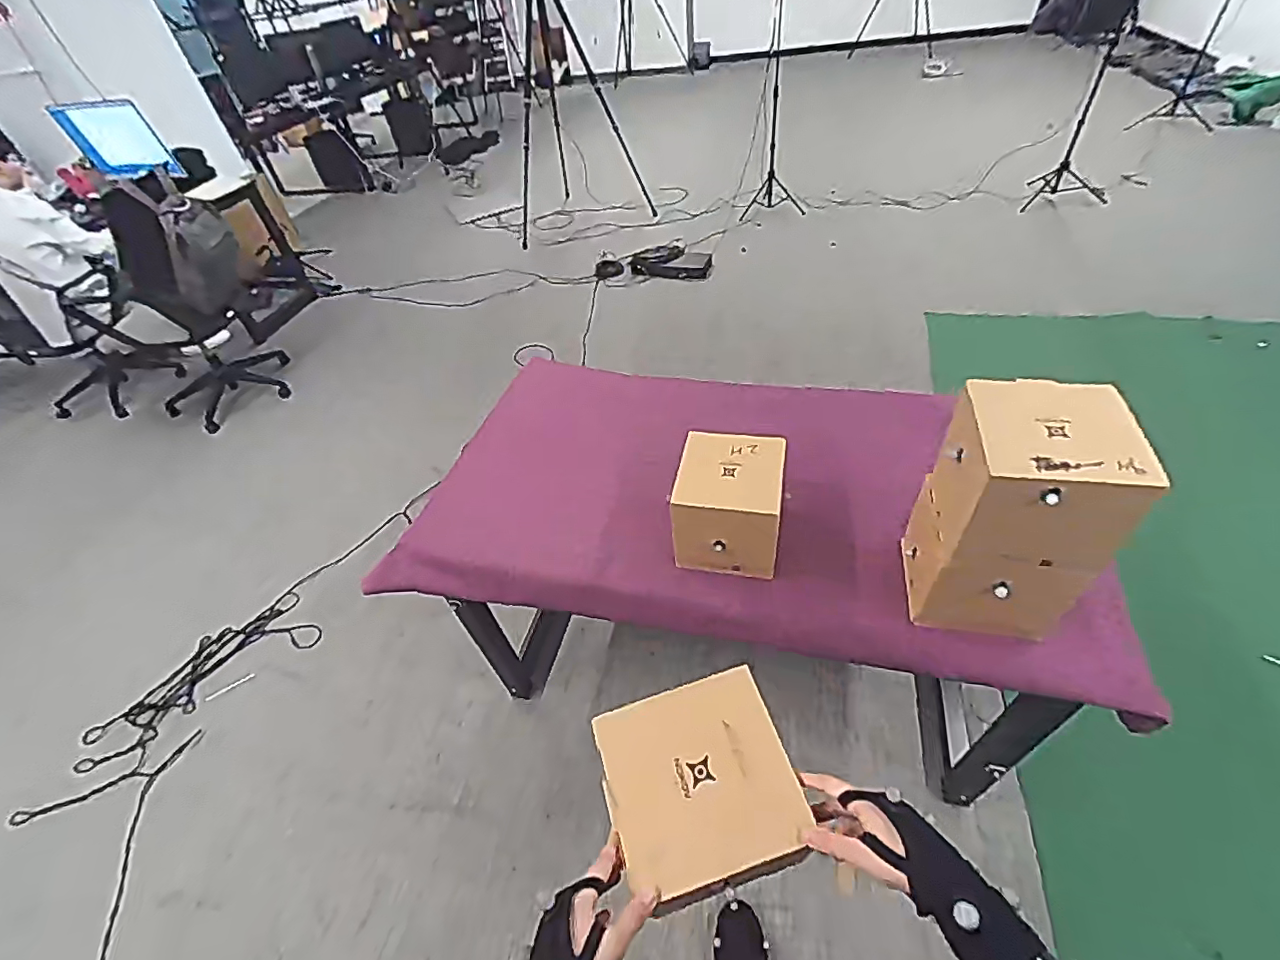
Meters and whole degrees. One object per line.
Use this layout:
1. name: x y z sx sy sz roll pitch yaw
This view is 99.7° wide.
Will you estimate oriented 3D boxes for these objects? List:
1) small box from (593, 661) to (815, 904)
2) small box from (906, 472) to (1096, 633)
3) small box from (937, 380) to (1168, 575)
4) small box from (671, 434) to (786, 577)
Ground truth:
1. small box: 0.066 0.327 0.578 0.179 0.176 0.168 -18 50 -4
2. small box: 0.508 0.108 0.793 0.179 0.176 0.168 3 48 15
3. small box: 0.488 -0.006 0.678 0.168 0.176 0.179 3 47 16
4. small box: 0.156 0.044 0.921 0.168 0.176 0.179 5 46 15
